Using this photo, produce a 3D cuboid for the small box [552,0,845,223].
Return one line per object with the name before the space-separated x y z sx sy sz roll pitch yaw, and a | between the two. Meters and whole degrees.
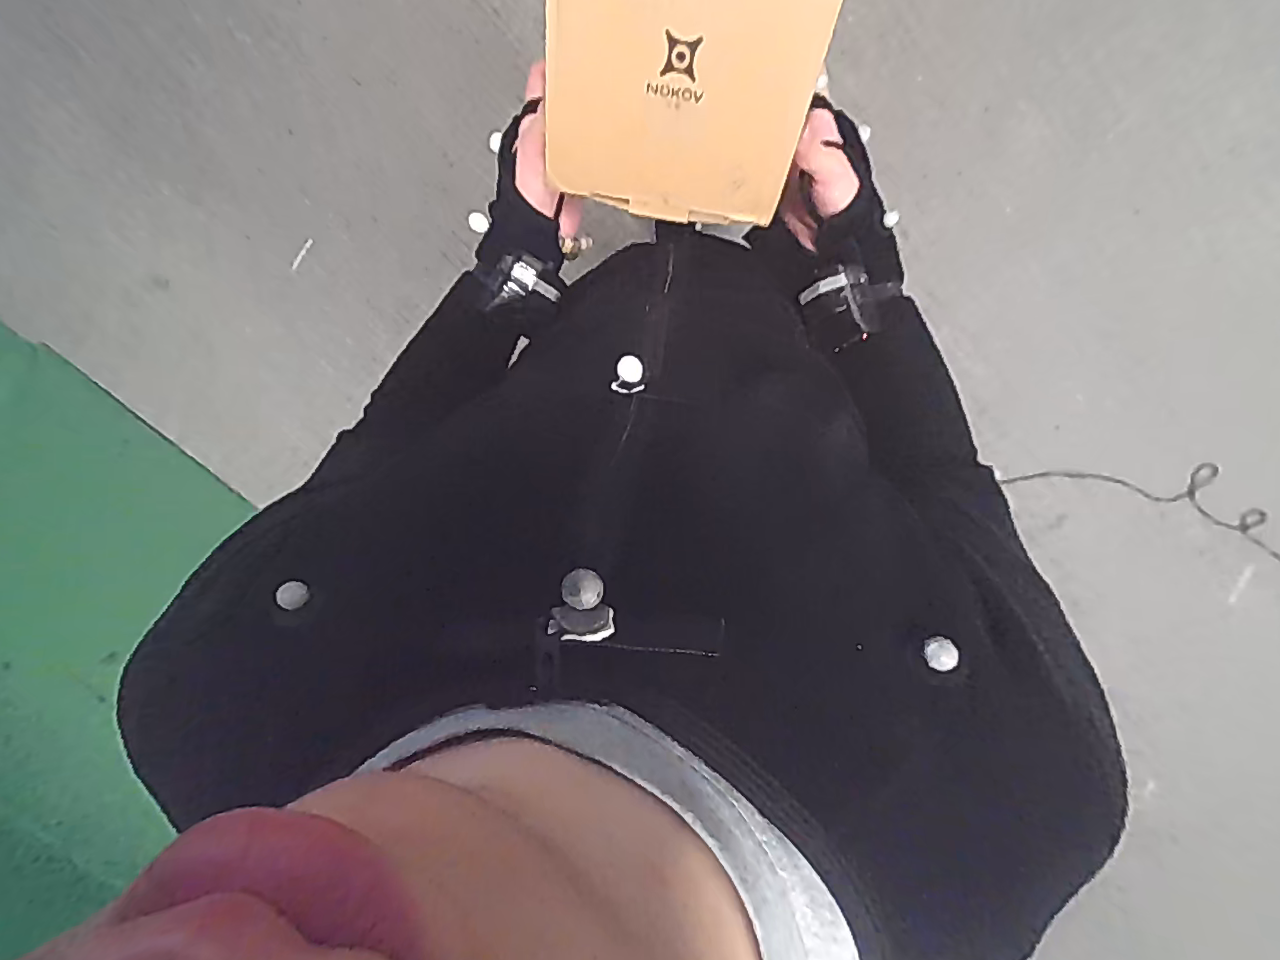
small box | 0.034 -0.314 0.376 0.168 0.176 0.179 7 140 -3
